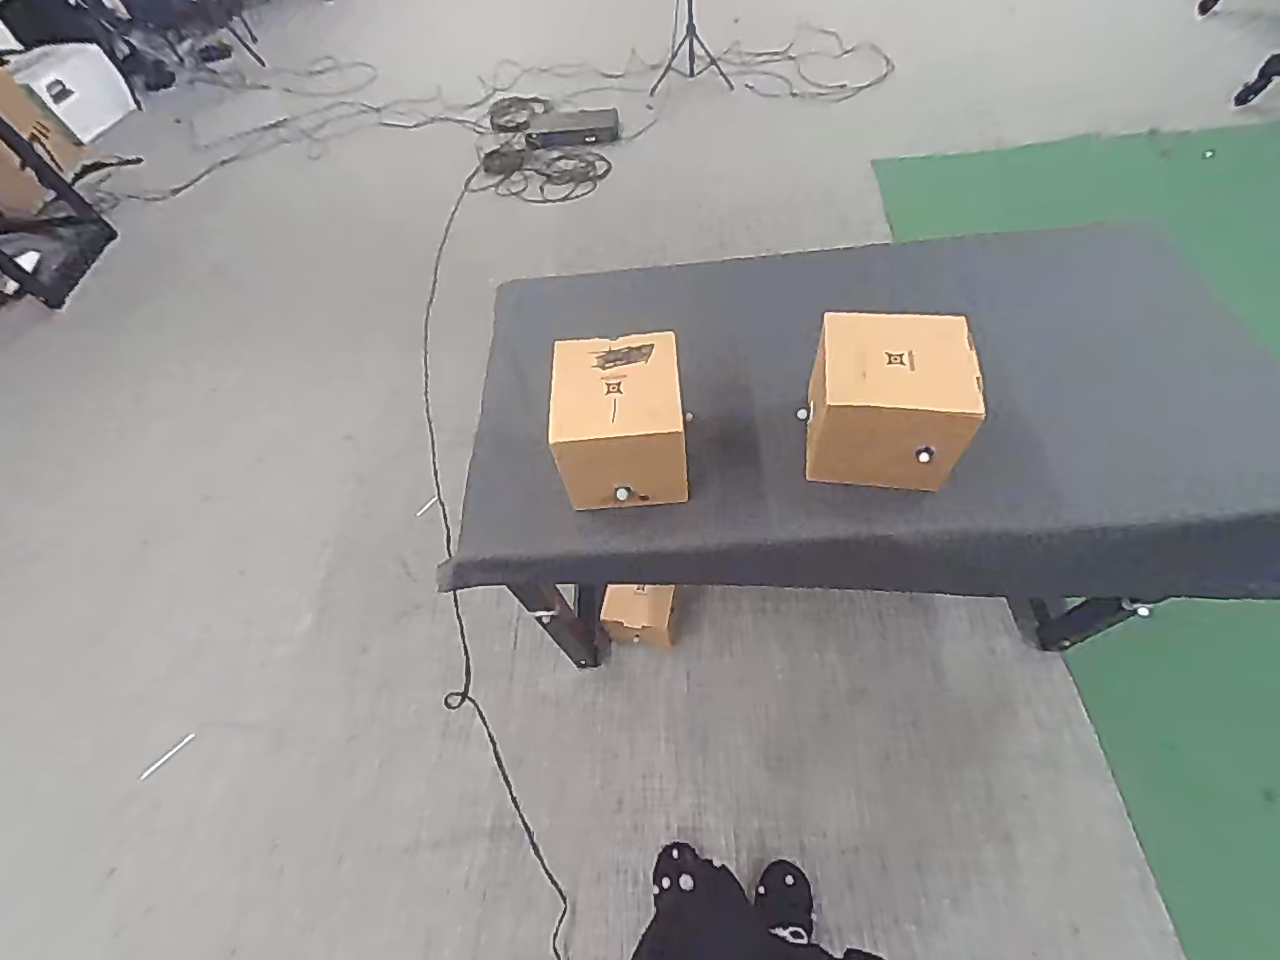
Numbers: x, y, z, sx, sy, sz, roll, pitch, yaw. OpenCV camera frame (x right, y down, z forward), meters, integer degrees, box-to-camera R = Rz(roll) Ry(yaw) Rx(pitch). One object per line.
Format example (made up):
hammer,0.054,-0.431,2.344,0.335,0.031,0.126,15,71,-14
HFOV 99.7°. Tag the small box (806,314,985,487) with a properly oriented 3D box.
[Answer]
small box,0.330,-0.103,0.736,0.179,0.176,0.168,4,57,11

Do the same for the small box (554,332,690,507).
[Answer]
small box,-0.018,-0.081,0.760,0.168,0.176,0.179,-5,57,4
